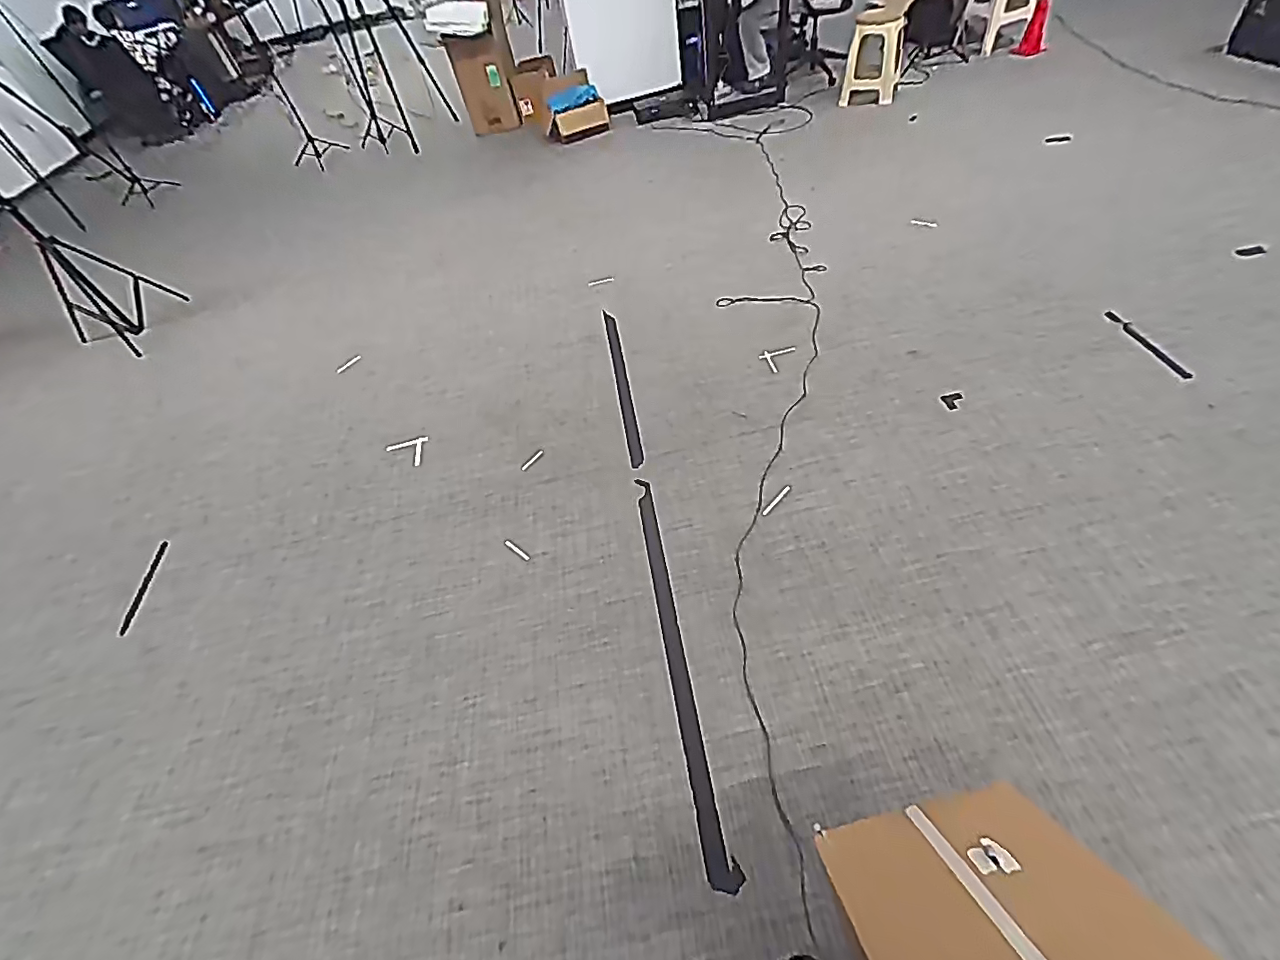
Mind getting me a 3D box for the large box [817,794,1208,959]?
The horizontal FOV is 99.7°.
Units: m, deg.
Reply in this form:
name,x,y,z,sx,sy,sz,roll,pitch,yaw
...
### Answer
name,x,y,z,sx,sy,sz,roll,pitch,yaw
large box,0.460,0.666,0.636,0.320,0.408,0.320,-15,88,0
